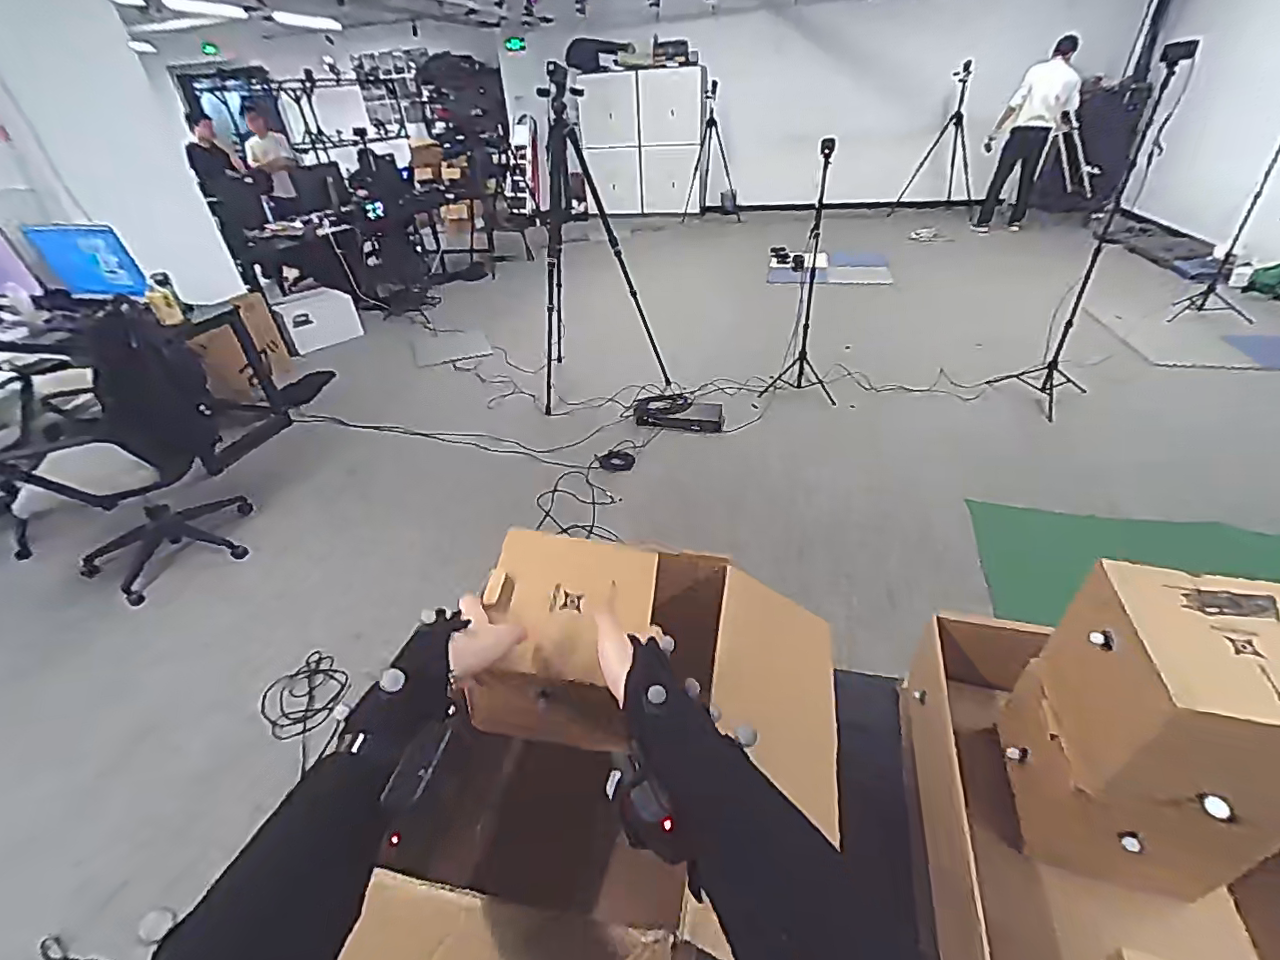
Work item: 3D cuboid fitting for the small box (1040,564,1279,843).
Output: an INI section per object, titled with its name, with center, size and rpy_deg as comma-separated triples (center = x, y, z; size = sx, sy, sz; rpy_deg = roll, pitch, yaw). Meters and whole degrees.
[small box]
center = 0.537, 0.214, 0.536
size = 0.168, 0.176, 0.179
rpy_deg = 7, 38, 15
